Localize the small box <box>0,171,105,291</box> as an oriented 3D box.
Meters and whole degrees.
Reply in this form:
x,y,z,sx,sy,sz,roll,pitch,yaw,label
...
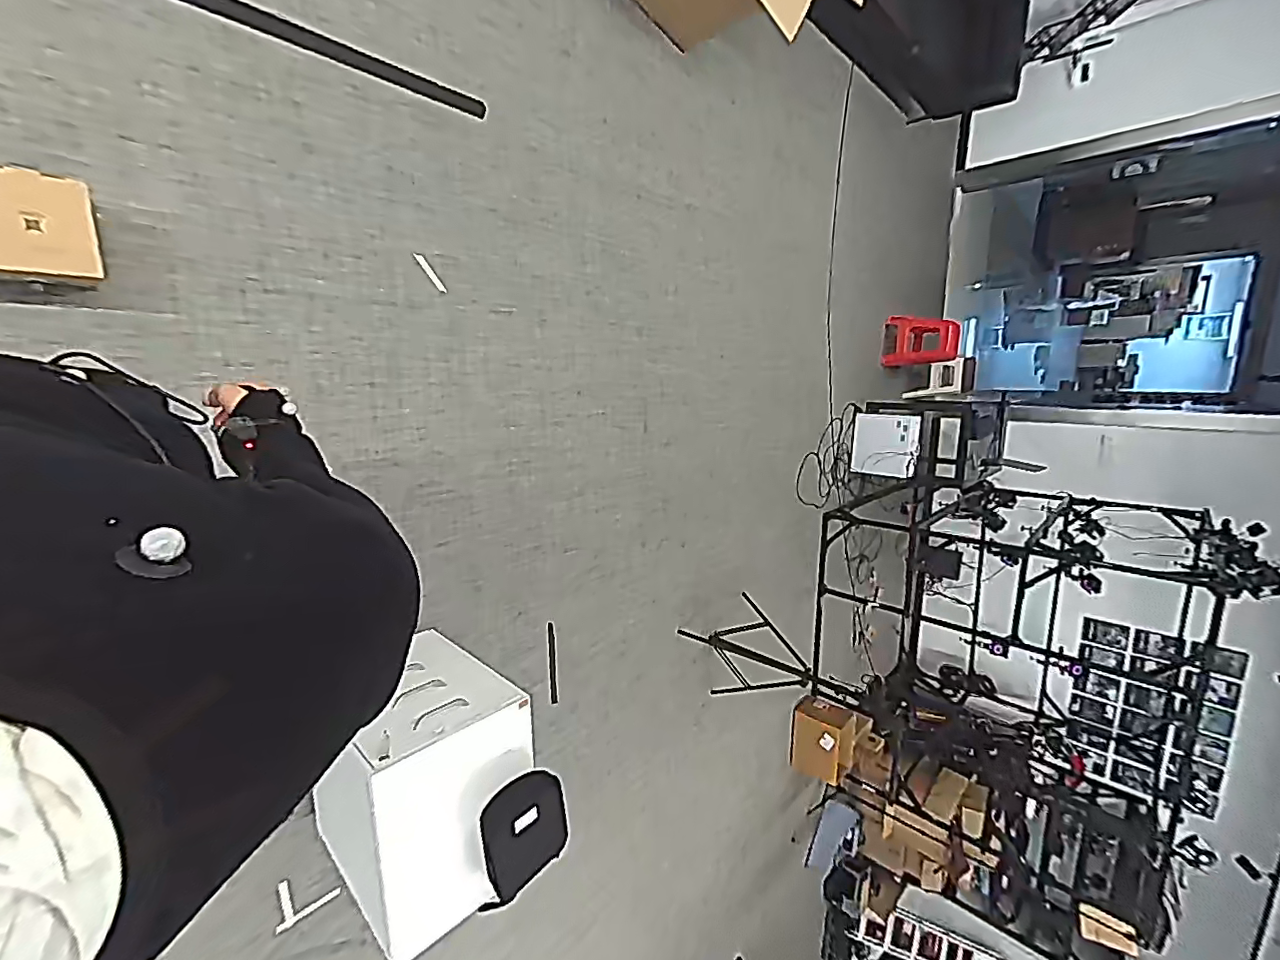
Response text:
x,y,z,sx,sy,sz,roll,pitch,yaw,label
-1.148,-0.464,1.024,0.168,0.176,0.179,-12,107,-44,small box
